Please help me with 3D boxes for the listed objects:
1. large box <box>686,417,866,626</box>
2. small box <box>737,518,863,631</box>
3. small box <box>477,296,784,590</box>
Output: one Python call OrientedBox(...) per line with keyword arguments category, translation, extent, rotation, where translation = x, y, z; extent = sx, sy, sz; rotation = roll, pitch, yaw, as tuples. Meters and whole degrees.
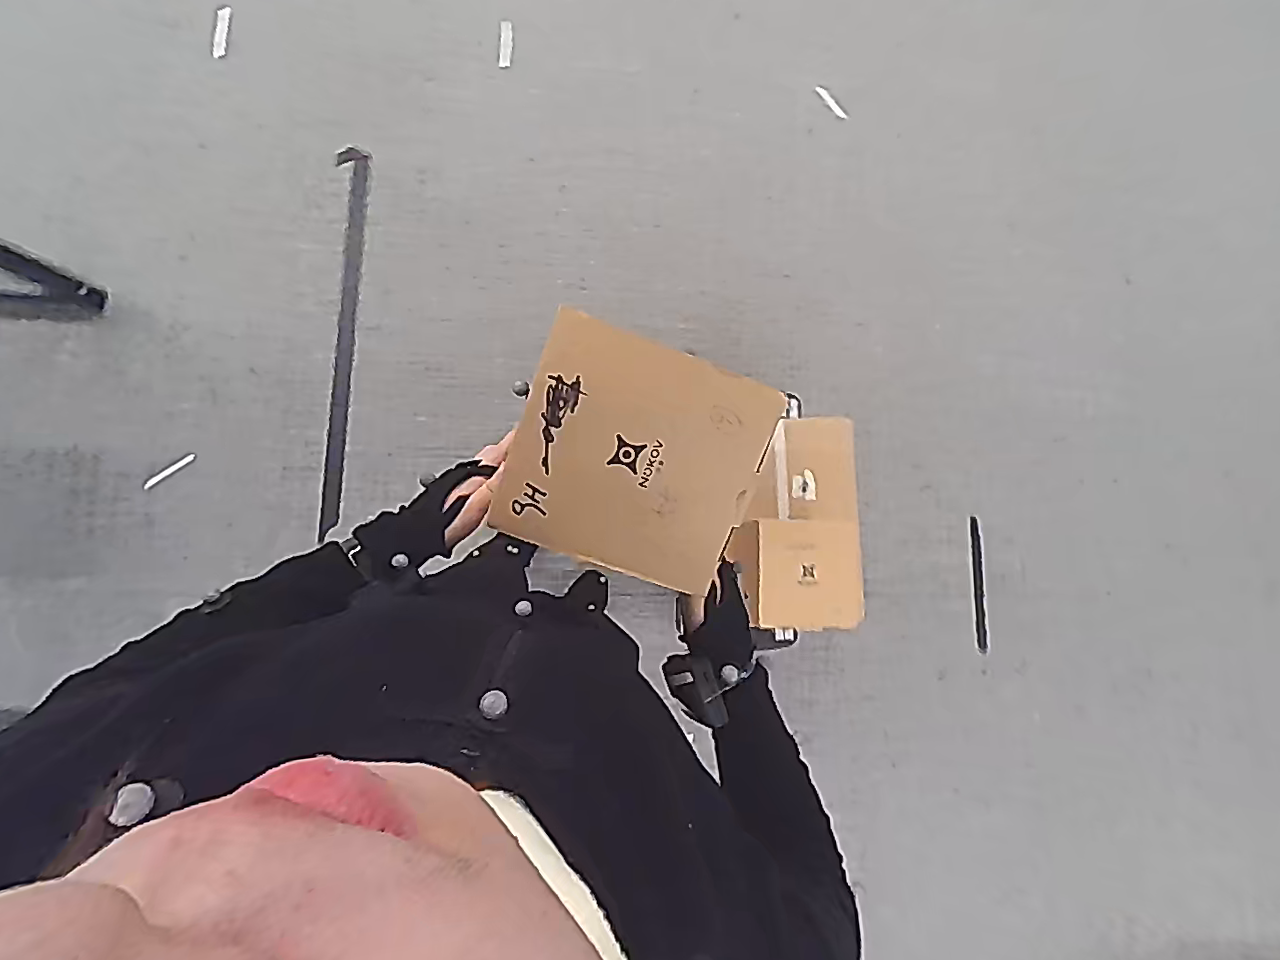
OrientedBox(category="large box", translation=(0.265, 0.092, 1.197), extent=(0.320, 0.320, 0.408), rotation=(-1, 83, -6))
OrientedBox(category="small box", translation=(0.270, 0.158, 0.944), extent=(0.168, 0.176, 0.179), rotation=(3, 84, -4))
OrientedBox(category="small box", translation=(-0.015, -0.034, 0.455), extent=(0.179, 0.176, 0.168), rotation=(20, 97, -10))
